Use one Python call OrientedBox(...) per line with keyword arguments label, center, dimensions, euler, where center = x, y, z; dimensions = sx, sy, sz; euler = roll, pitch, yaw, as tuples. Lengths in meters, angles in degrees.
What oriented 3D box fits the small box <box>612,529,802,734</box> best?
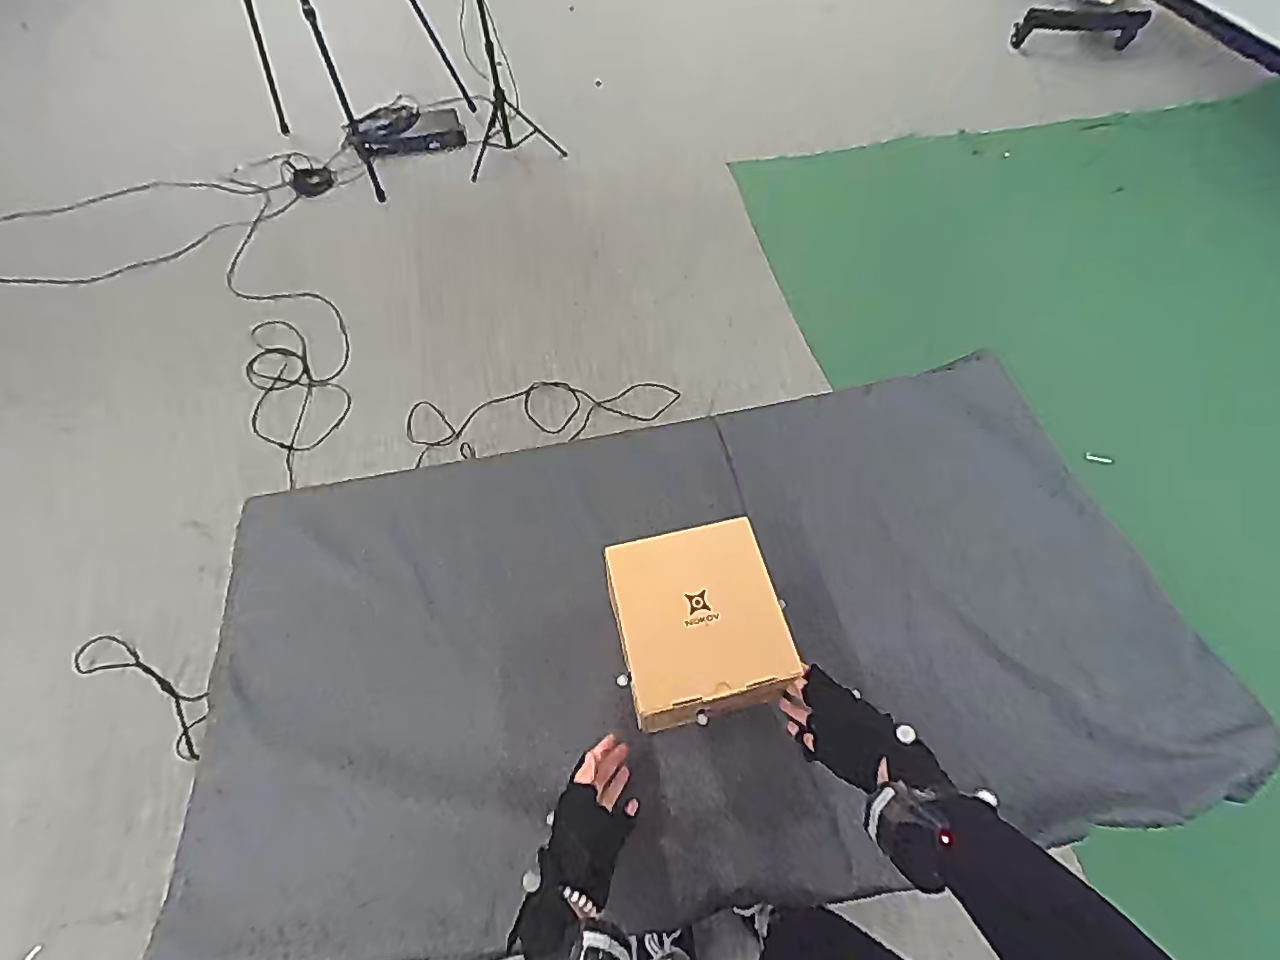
OrientedBox(label="small box", center=(0.063, 0.183, 0.636), dimensions=(0.168, 0.176, 0.179), euler=(-12, 62, -7))
